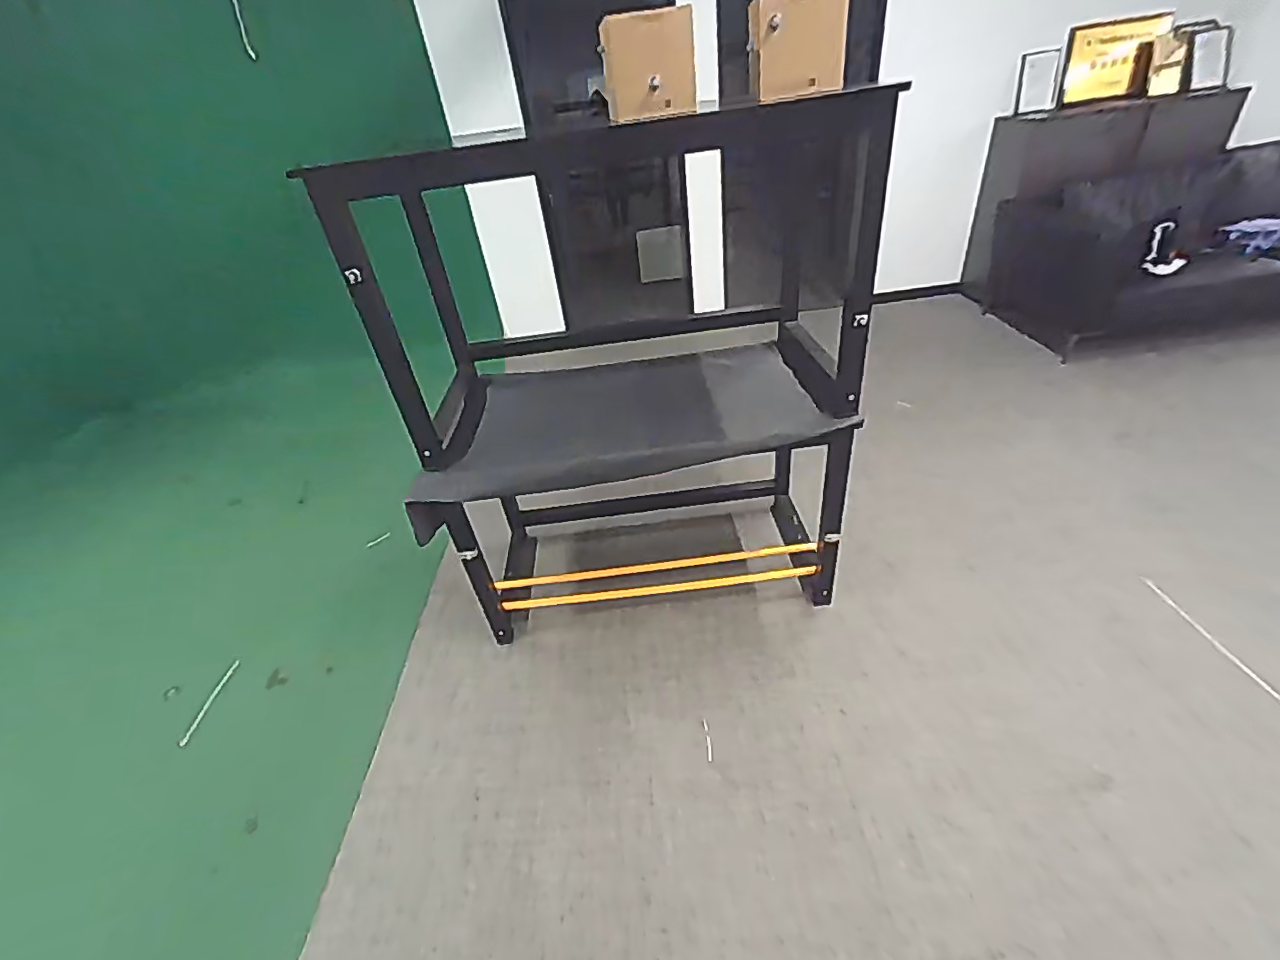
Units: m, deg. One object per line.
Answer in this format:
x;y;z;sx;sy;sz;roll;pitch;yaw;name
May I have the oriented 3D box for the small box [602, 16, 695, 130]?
0.017;-0.847;1.138;0.168;0.176;0.179;-11;35;-2;small box
